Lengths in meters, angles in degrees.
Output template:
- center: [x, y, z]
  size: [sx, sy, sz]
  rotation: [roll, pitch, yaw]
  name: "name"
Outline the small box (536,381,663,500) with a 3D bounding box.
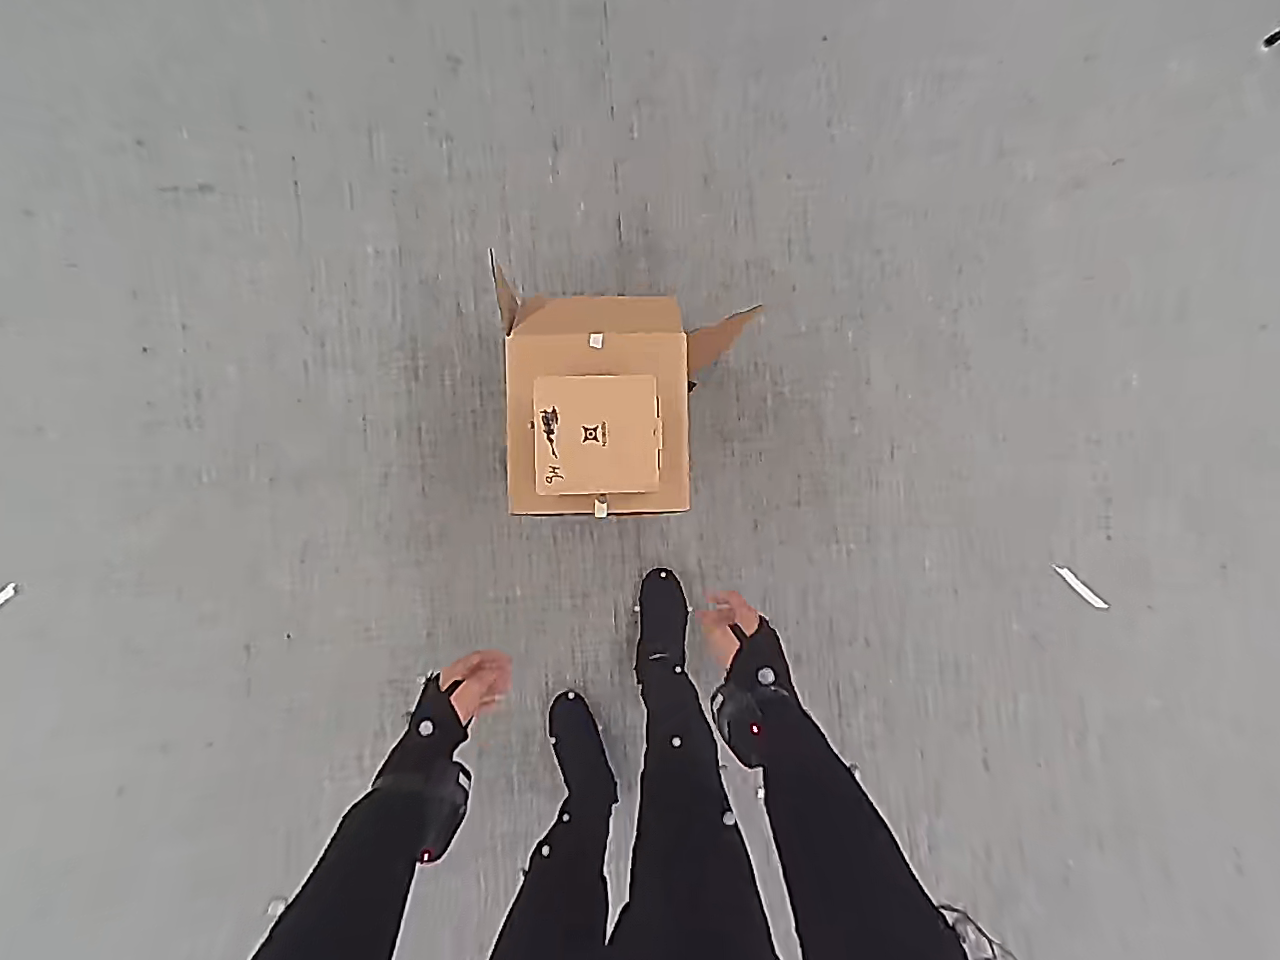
- center: [-0.059, -0.054, 0.822]
  size: [0.179, 0.176, 0.168]
  rotation: [-1, 89, -2]
  name: "small box"
